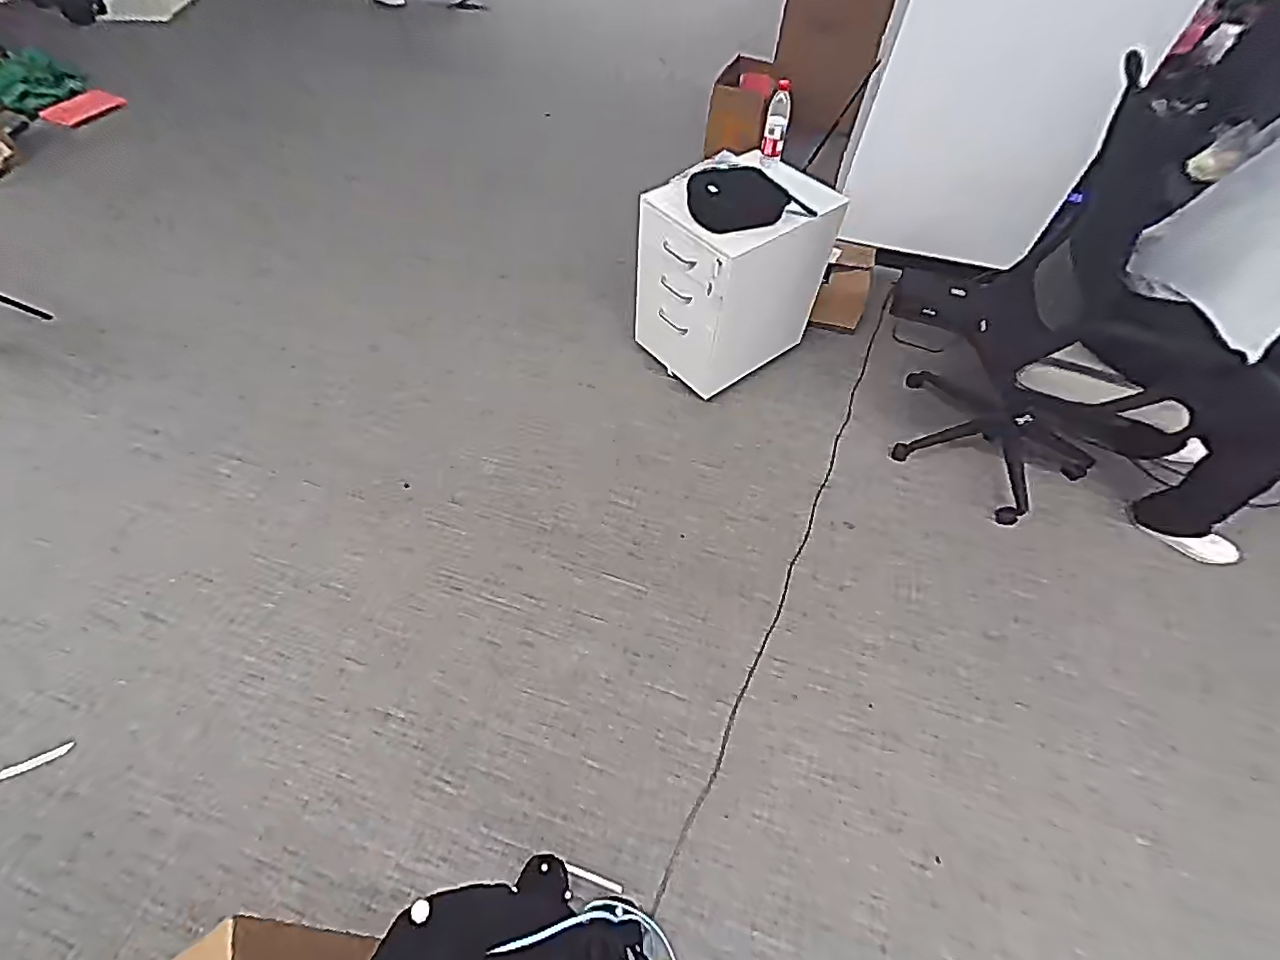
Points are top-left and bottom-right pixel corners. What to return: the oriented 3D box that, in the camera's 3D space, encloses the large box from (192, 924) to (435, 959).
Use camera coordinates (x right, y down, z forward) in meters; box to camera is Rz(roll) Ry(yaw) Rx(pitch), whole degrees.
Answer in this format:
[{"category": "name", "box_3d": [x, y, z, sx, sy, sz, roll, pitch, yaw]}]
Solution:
[{"category": "large box", "box_3d": [-0.437, 0.783, 0.600, 0.320, 0.408, 0.320, -34, 43, -11]}]
